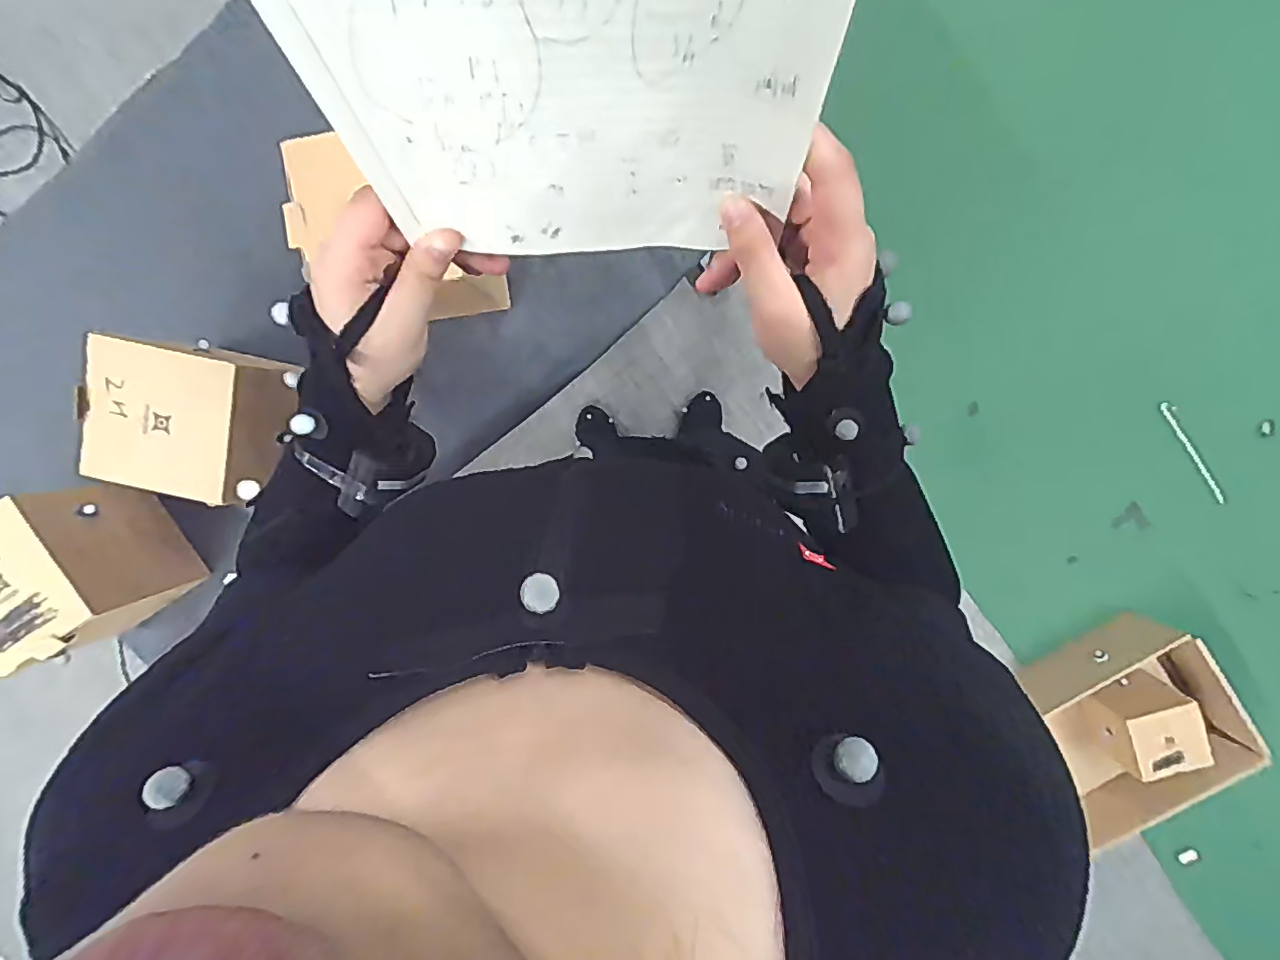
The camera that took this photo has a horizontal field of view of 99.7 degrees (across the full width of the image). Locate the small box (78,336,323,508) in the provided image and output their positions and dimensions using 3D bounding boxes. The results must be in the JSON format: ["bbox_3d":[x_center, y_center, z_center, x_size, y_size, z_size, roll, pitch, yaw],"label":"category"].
[{"bbox_3d":[-0.540,-0.075,0.686,0.179,0.176,0.168,12,98,2],"label":"small box"}]

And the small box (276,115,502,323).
[{"bbox_3d":[-0.275,-0.290,0.640,0.179,0.176,0.168,-7,97,5],"label":"small box"}]

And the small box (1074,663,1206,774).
[{"bbox_3d":[1.263,0.601,1.378,0.168,0.176,0.179,-20,98,7],"label":"small box"}]
